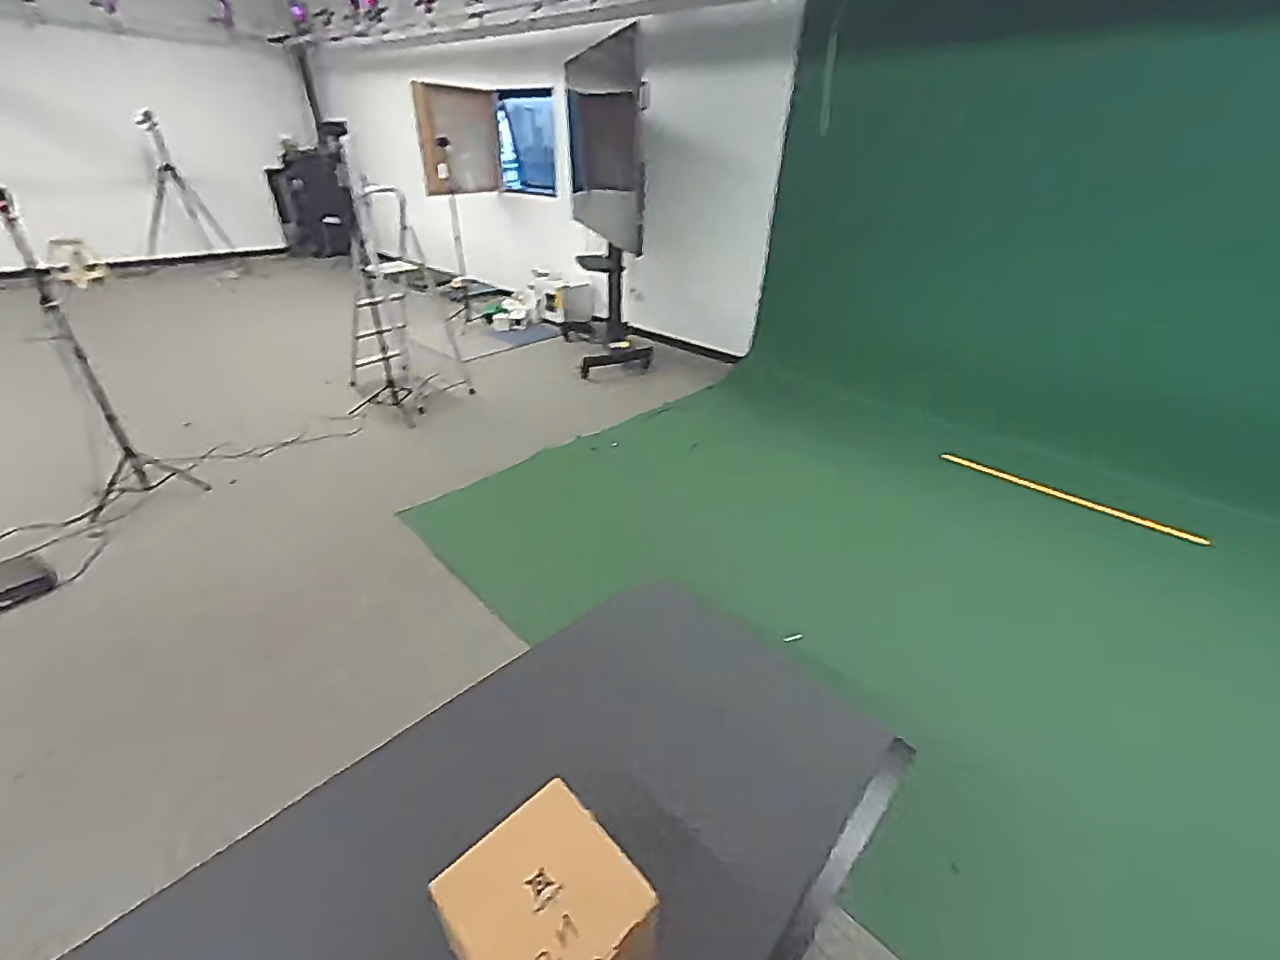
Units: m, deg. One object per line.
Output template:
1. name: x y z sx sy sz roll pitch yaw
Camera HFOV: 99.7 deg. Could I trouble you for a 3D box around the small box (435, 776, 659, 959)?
1. small box: -0.099 0.484 0.593 0.168 0.176 0.179 -26 41 -37
